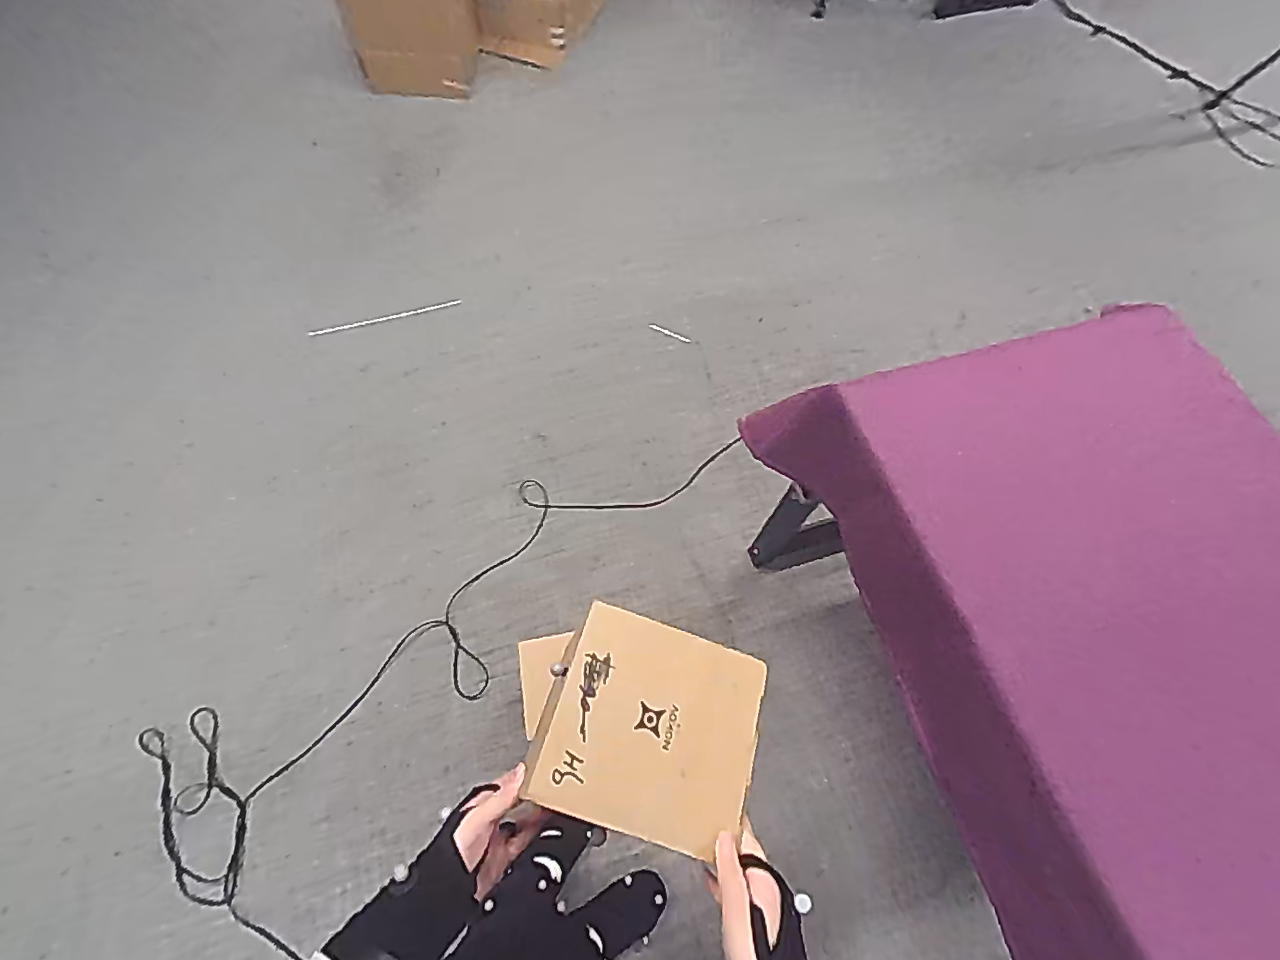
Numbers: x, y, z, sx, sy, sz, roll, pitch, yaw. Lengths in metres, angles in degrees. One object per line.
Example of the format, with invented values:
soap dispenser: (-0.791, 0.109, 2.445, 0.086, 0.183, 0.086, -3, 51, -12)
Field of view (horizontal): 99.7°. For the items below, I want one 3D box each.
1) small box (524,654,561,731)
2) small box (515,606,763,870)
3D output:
small box: (-0.151, 0.482, 1.210, 0.179, 0.176, 0.168, -11, 66, -9)
small box: (-0.007, 0.248, 0.529, 0.179, 0.176, 0.168, 22, 57, -4)
